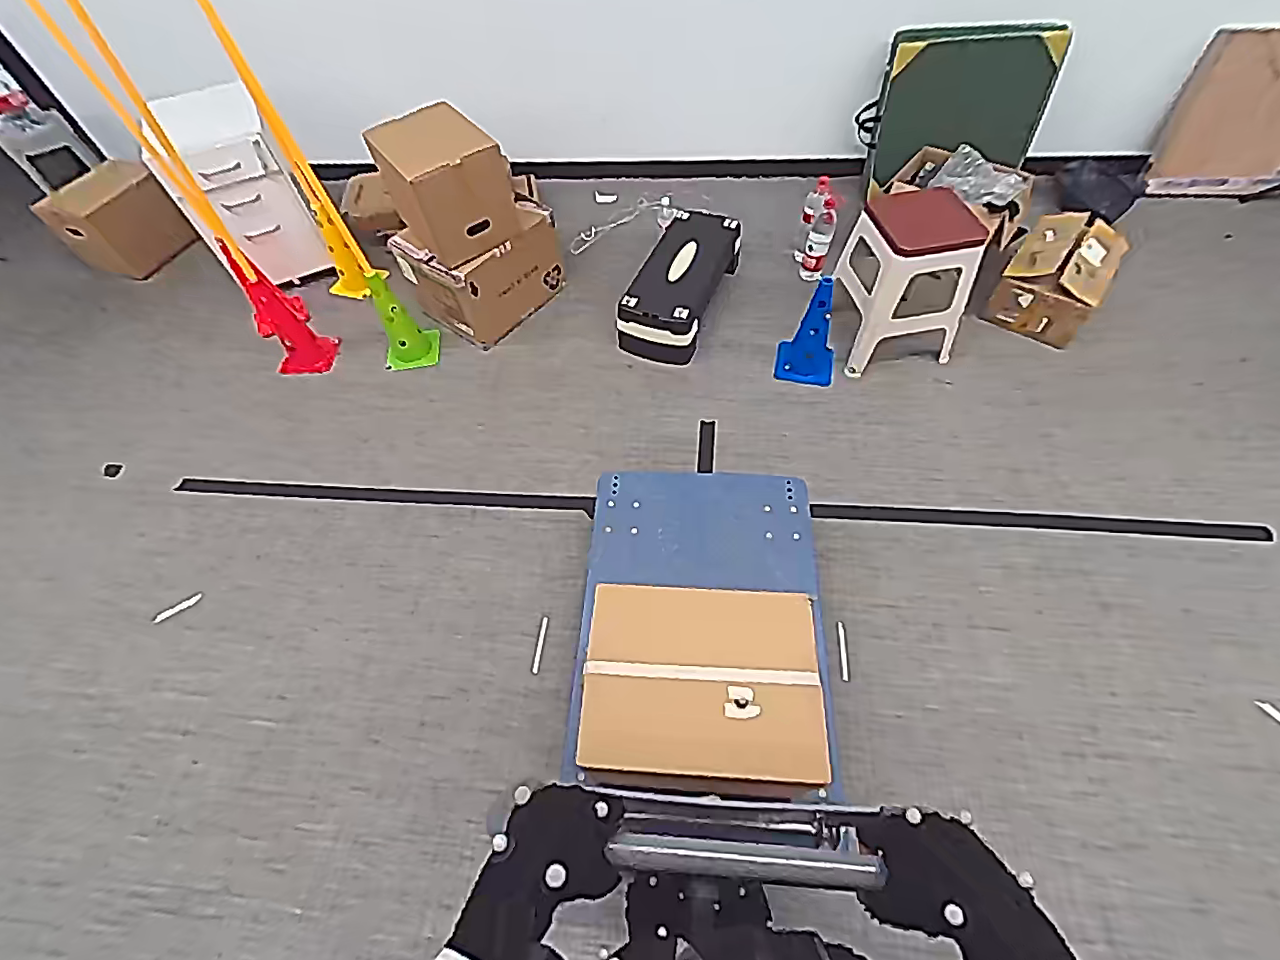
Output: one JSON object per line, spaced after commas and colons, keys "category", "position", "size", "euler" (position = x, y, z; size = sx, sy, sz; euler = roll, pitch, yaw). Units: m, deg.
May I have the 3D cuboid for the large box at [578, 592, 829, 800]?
{"category": "large box", "position": [0.107, 0.426, 1.051], "size": [0.408, 0.320, 0.320], "euler": [2, 57, 3]}
